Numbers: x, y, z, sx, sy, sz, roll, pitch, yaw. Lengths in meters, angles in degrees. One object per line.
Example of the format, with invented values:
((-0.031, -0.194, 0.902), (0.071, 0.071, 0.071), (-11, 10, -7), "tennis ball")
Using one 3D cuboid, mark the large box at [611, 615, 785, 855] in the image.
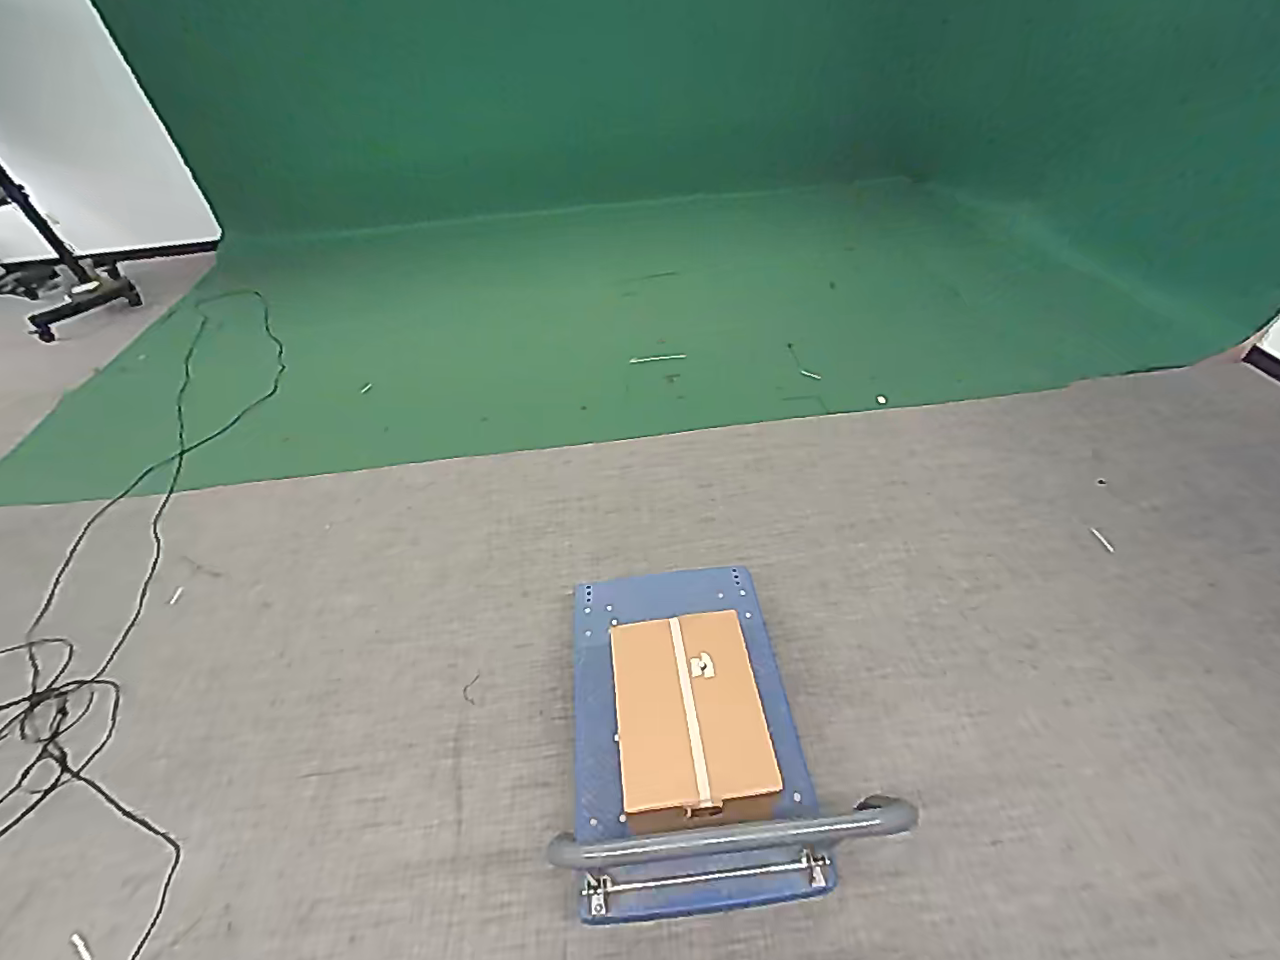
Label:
((0.118, 0.593, 1.276), (0.320, 0.320, 0.408), (-7, 44, -2), "large box")
